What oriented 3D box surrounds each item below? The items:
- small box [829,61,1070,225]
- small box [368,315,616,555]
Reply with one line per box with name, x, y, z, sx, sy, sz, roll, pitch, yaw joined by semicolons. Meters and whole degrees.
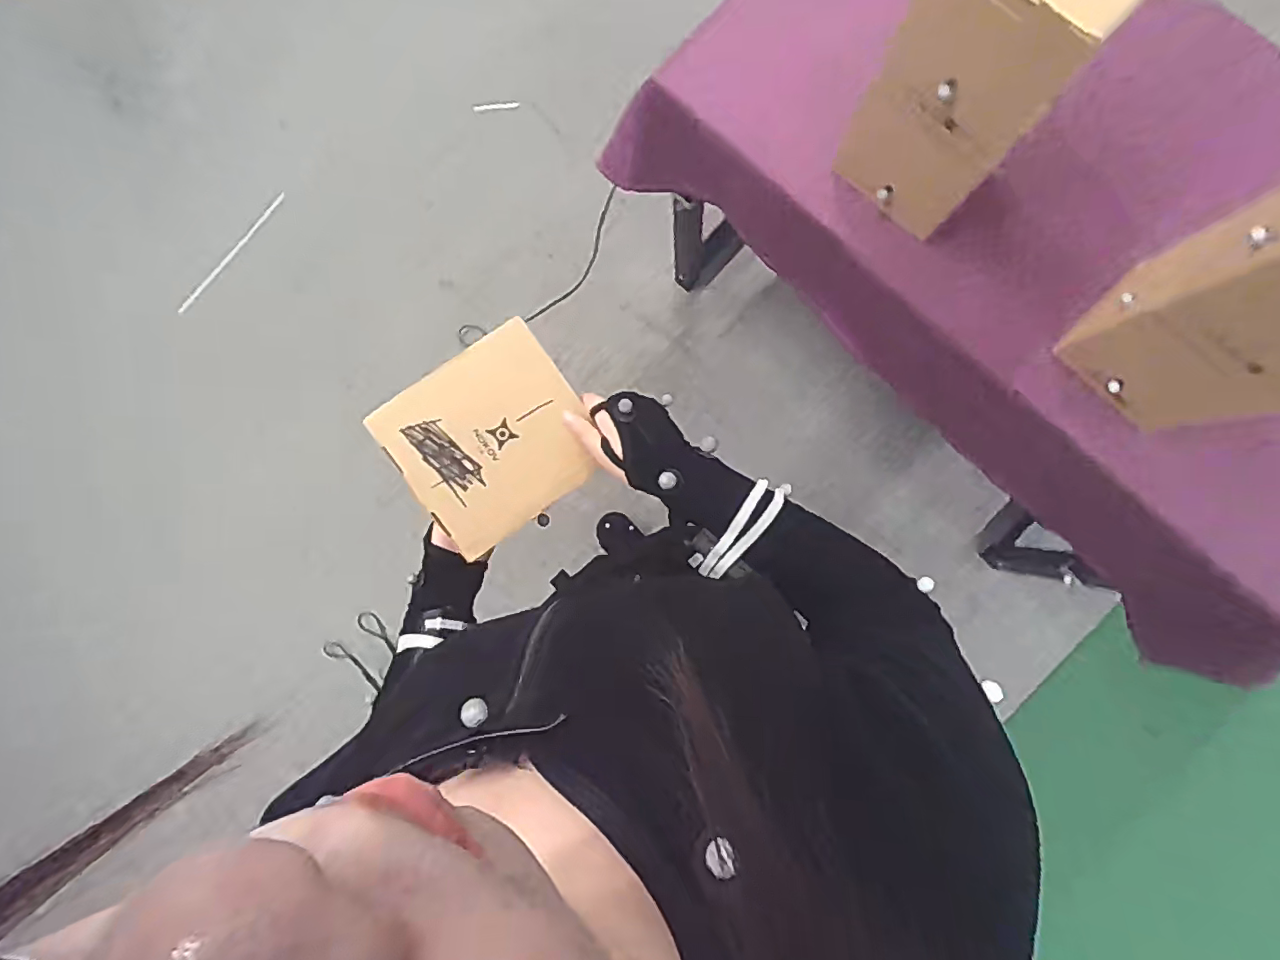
small box;0.384;-0.469;0.707;0.179;0.176;0.168;42;90;4
small box;-0.145;-0.042;0.586;0.179;0.176;0.168;-36;95;-6
